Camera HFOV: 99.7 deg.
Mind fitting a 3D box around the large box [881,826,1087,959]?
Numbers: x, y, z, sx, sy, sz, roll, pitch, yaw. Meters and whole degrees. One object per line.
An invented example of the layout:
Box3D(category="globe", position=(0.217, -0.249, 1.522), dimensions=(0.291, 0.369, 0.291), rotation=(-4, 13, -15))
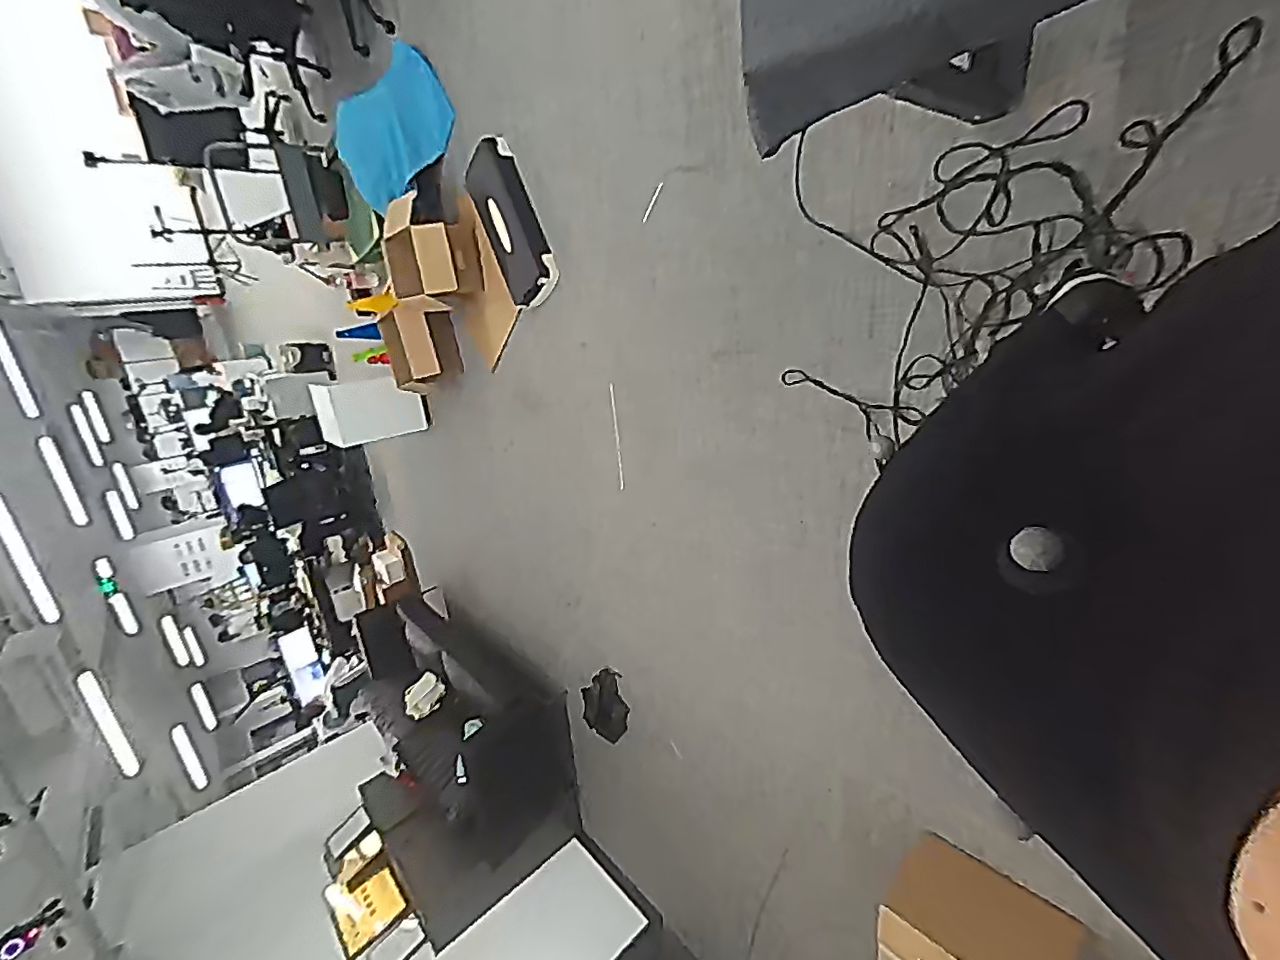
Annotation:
Box3D(category="large box", position=(0.936, 1.283, 1.493), dimensions=(0.408, 0.320, 0.320), rotation=(14, 117, 48))
